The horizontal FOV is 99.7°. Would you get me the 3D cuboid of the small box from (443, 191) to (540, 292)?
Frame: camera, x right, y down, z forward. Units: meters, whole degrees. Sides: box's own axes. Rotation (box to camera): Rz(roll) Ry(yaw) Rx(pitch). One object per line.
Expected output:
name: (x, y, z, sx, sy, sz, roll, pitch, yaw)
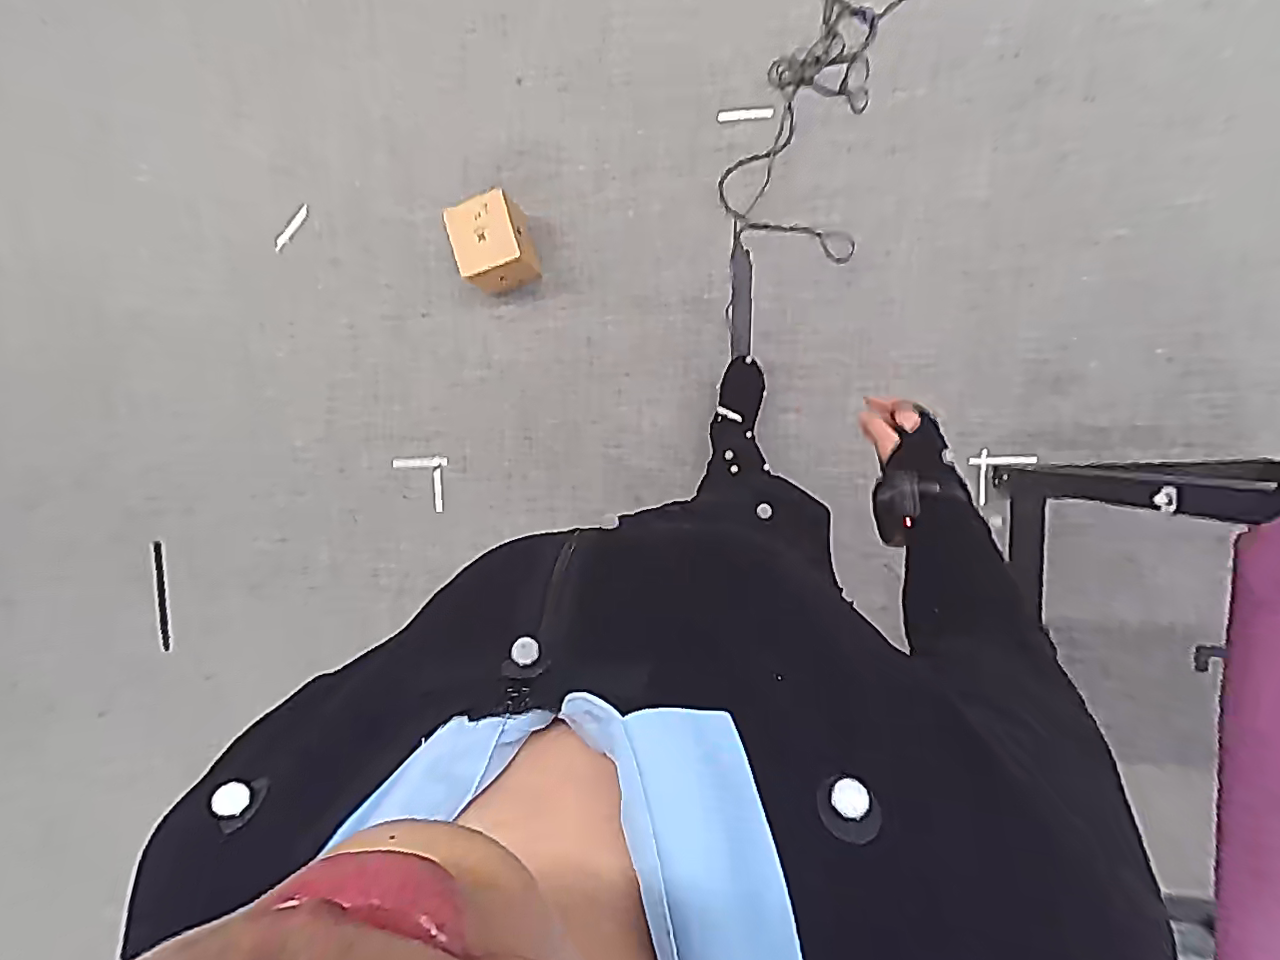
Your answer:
small box: (-0.379, -0.607, 1.410, 0.168, 0.176, 0.179, -15, 91, 10)
